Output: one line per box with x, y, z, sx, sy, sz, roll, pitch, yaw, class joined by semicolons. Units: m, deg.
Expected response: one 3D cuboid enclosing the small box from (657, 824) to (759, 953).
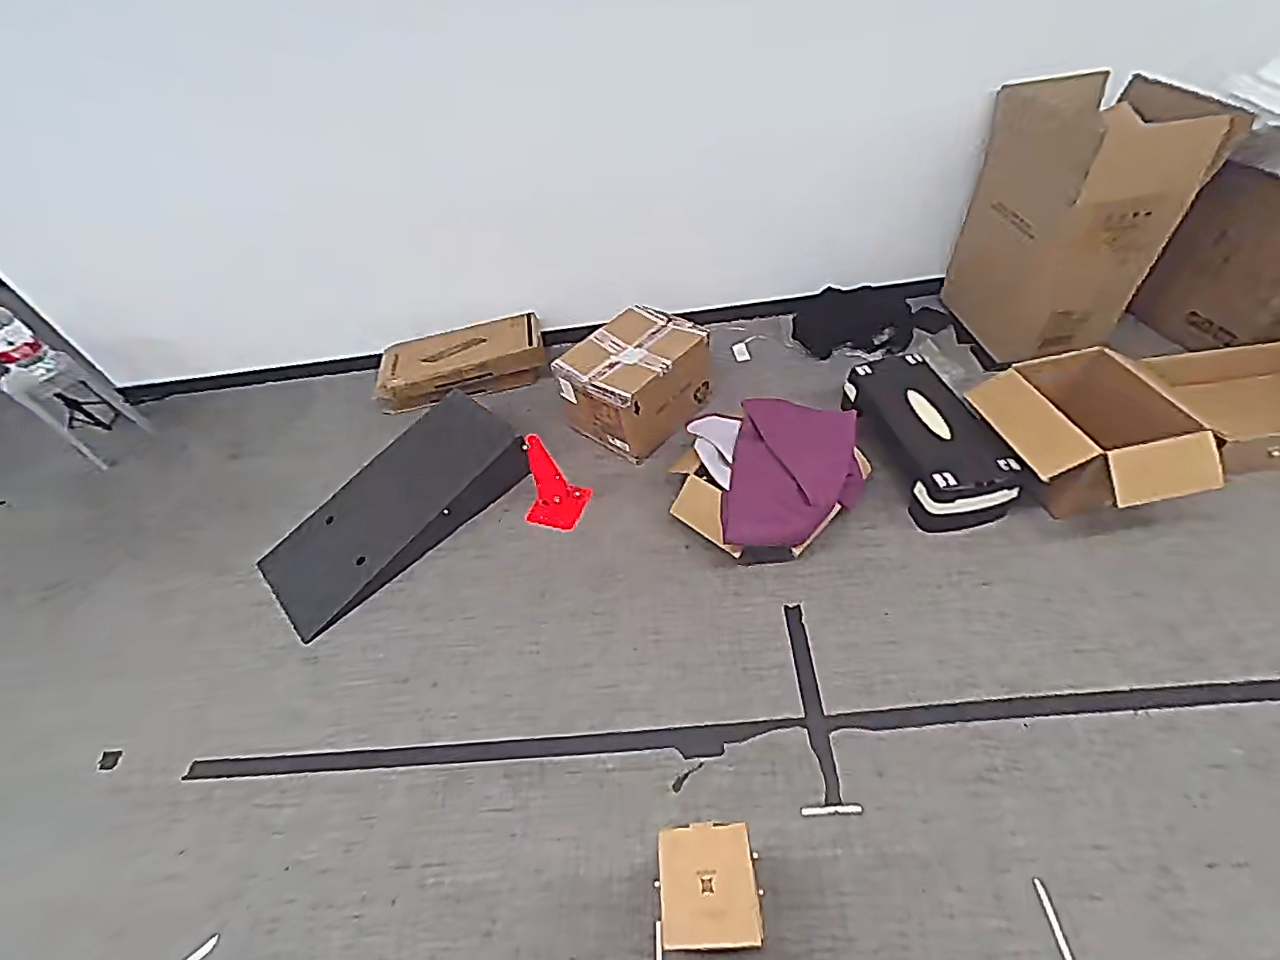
0.125;0.762;1.007;0.168;0.176;0.179;-8;49;6;small box
